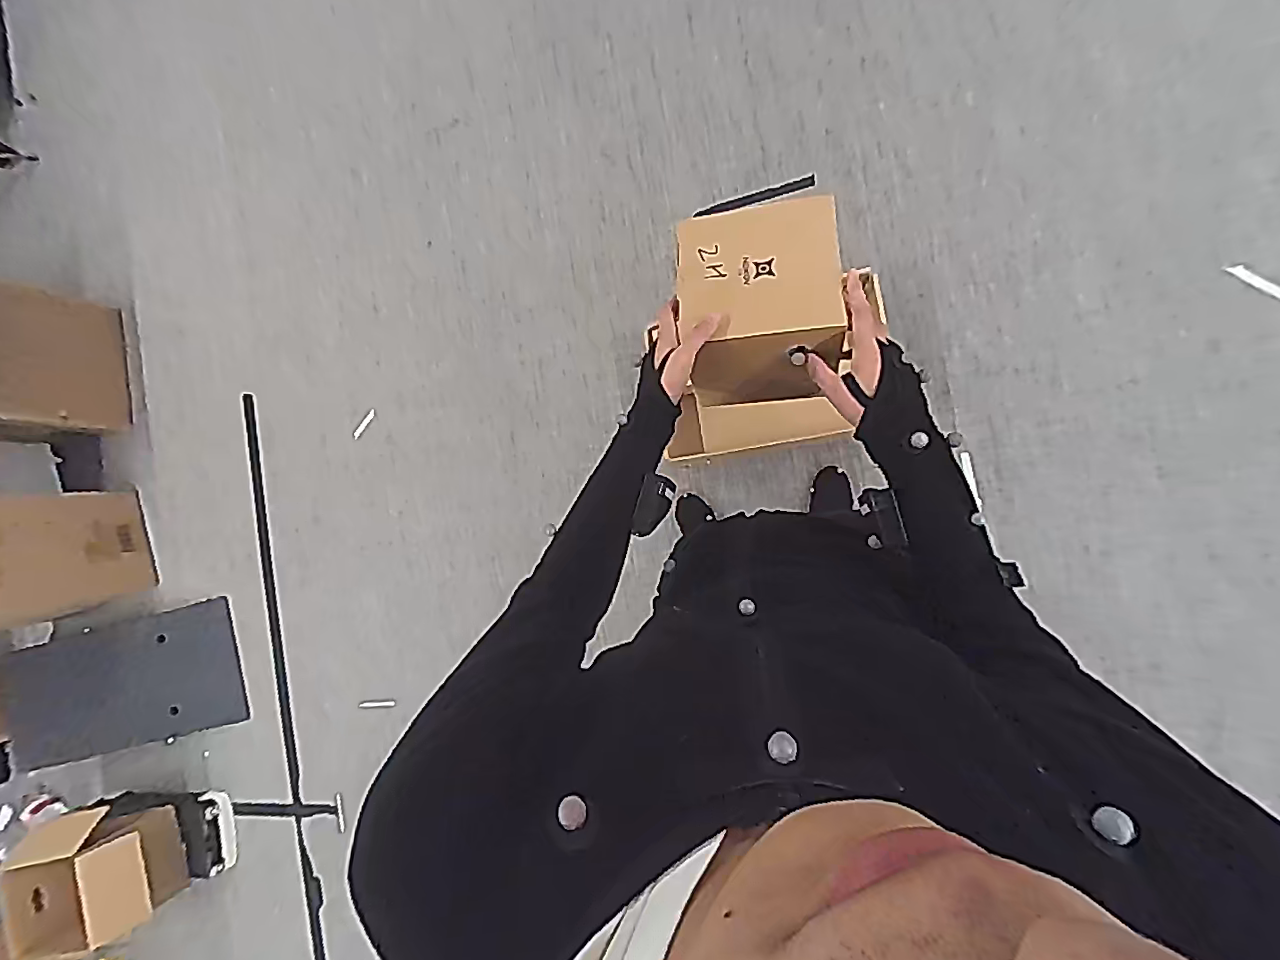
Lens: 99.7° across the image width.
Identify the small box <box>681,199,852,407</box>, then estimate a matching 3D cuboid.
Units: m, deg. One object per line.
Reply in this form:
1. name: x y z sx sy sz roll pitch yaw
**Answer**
1. small box: 0.149 -0.200 0.656 0.179 0.176 0.168 -3 73 14
